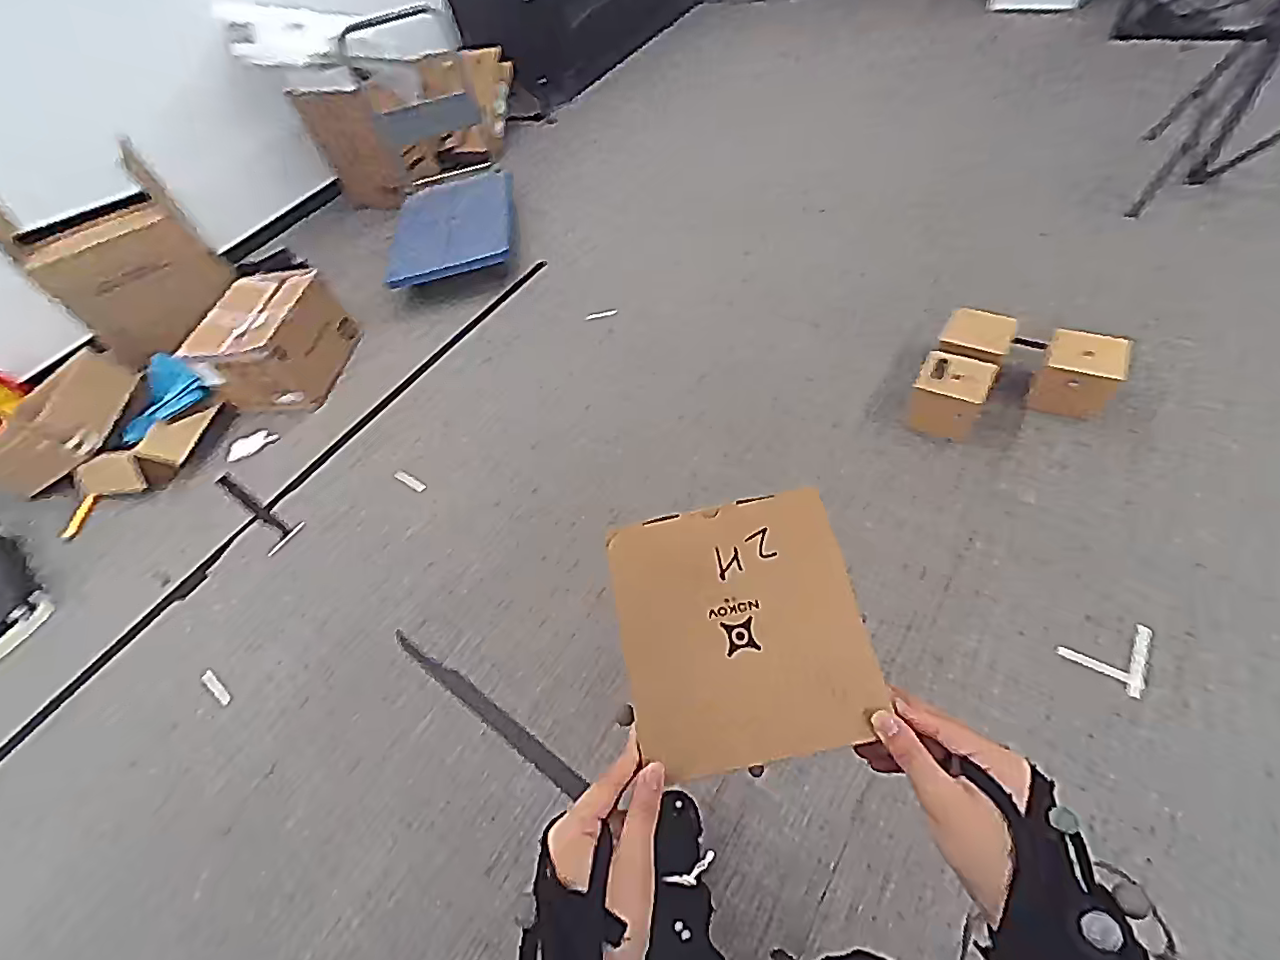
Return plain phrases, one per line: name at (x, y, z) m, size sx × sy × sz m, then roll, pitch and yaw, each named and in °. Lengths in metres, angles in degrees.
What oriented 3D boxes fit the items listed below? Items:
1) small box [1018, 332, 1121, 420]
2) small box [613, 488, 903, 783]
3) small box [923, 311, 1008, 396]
small box at (1.236, -0.297, 1.563) m, size 0.179 × 0.176 × 0.168 m, roll 20°, pitch 61°, yaw 26°
small box at (0.081, 0.129, 0.446) m, size 0.168 × 0.176 × 0.179 m, roll -11°, pitch 66°, yaw 1°
small box at (1.013, -0.396, 1.680) m, size 0.179 × 0.176 × 0.168 m, roll 25°, pitch 63°, yaw 27°
